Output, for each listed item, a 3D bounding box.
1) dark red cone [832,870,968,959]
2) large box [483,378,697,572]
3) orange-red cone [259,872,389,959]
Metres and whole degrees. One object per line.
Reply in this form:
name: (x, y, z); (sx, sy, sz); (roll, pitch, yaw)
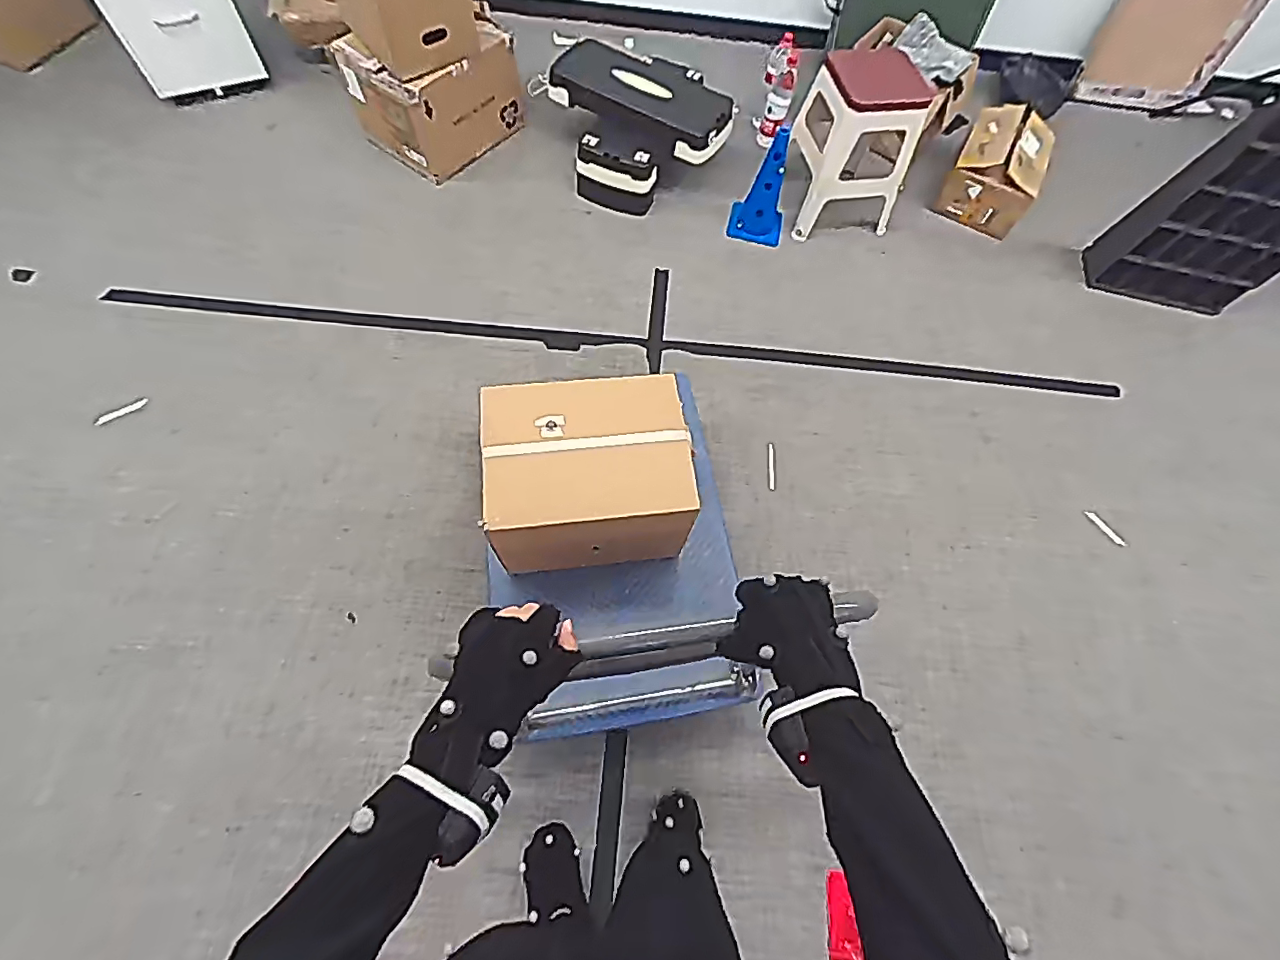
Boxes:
dark red cone: (0.518, 0.871, 0.979); (0.201, 0.394, 0.202); (7, 65, -3)
large box: (-0.113, 0.002, 1.205); (0.408, 0.320, 0.320); (-6, 66, -6)
orange-red cone: (-0.615, 0.844, 0.930); (0.198, 0.360, 0.199); (13, 63, 1)
